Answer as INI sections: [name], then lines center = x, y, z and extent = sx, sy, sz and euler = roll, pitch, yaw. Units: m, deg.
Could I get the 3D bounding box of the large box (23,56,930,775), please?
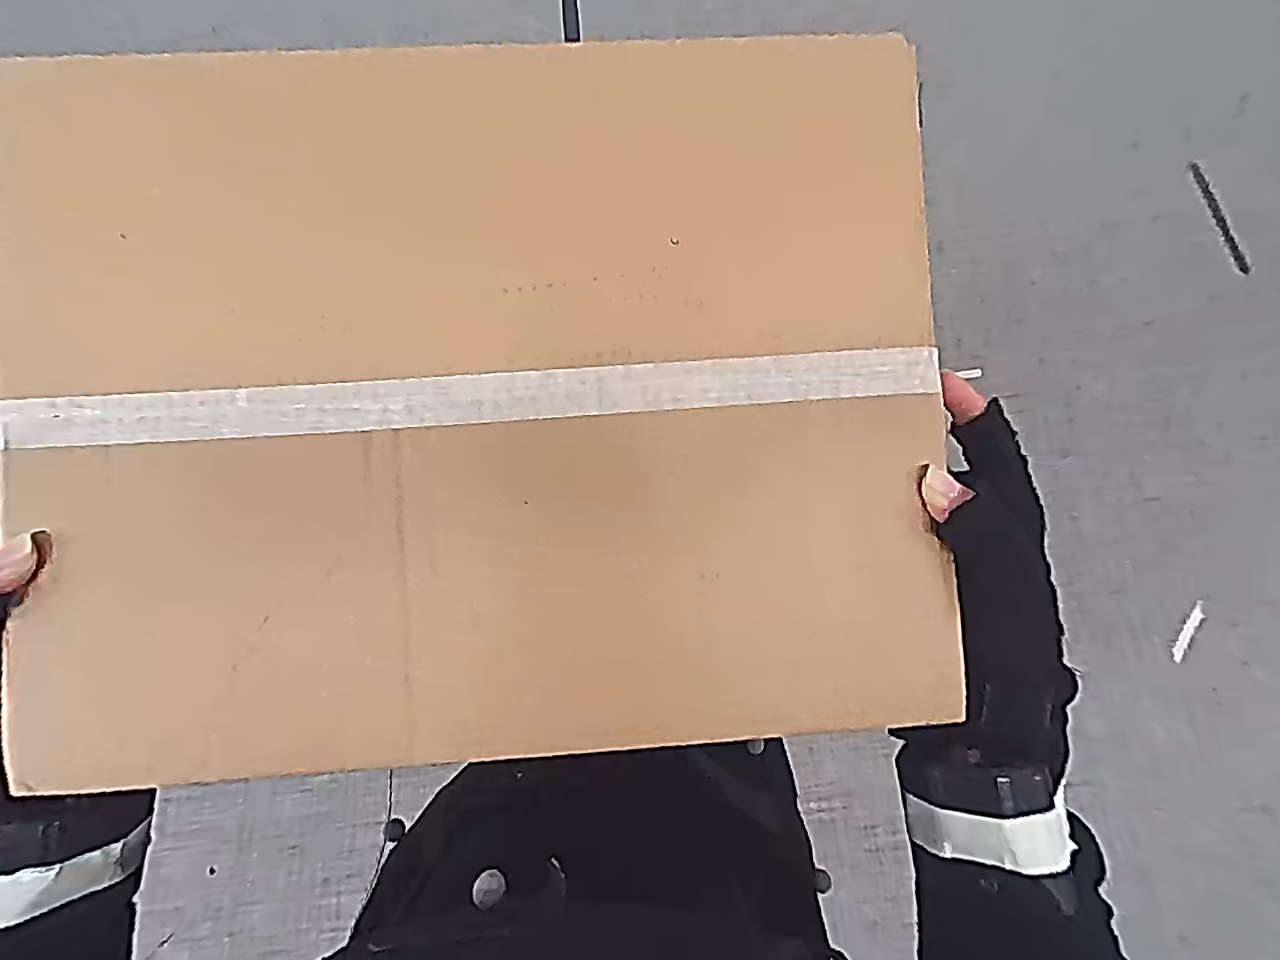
[large box]
center = -0.075, -0.034, 0.398
extent = 0.408, 0.320, 0.320
euler = -4, 88, -2
